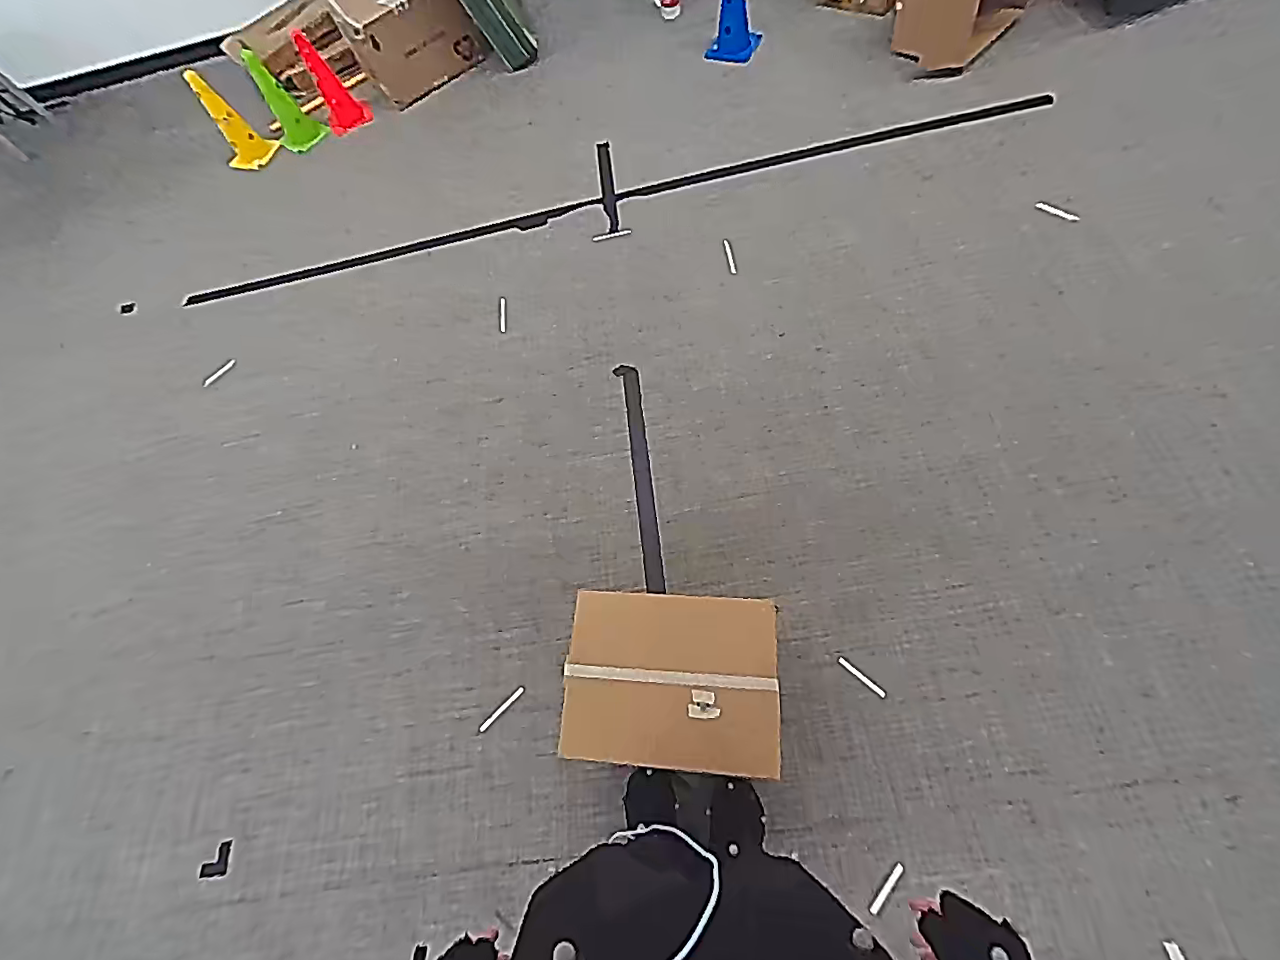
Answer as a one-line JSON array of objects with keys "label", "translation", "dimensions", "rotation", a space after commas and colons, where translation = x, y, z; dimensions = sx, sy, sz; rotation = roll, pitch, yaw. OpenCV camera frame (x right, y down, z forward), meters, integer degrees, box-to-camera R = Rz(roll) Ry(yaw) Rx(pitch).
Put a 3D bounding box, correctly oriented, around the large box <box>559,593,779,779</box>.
[{"label": "large box", "translation": [0.074, 0.437, 1.158], "dimensions": [0.408, 0.320, 0.320], "rotation": [1, 67, 9]}]
